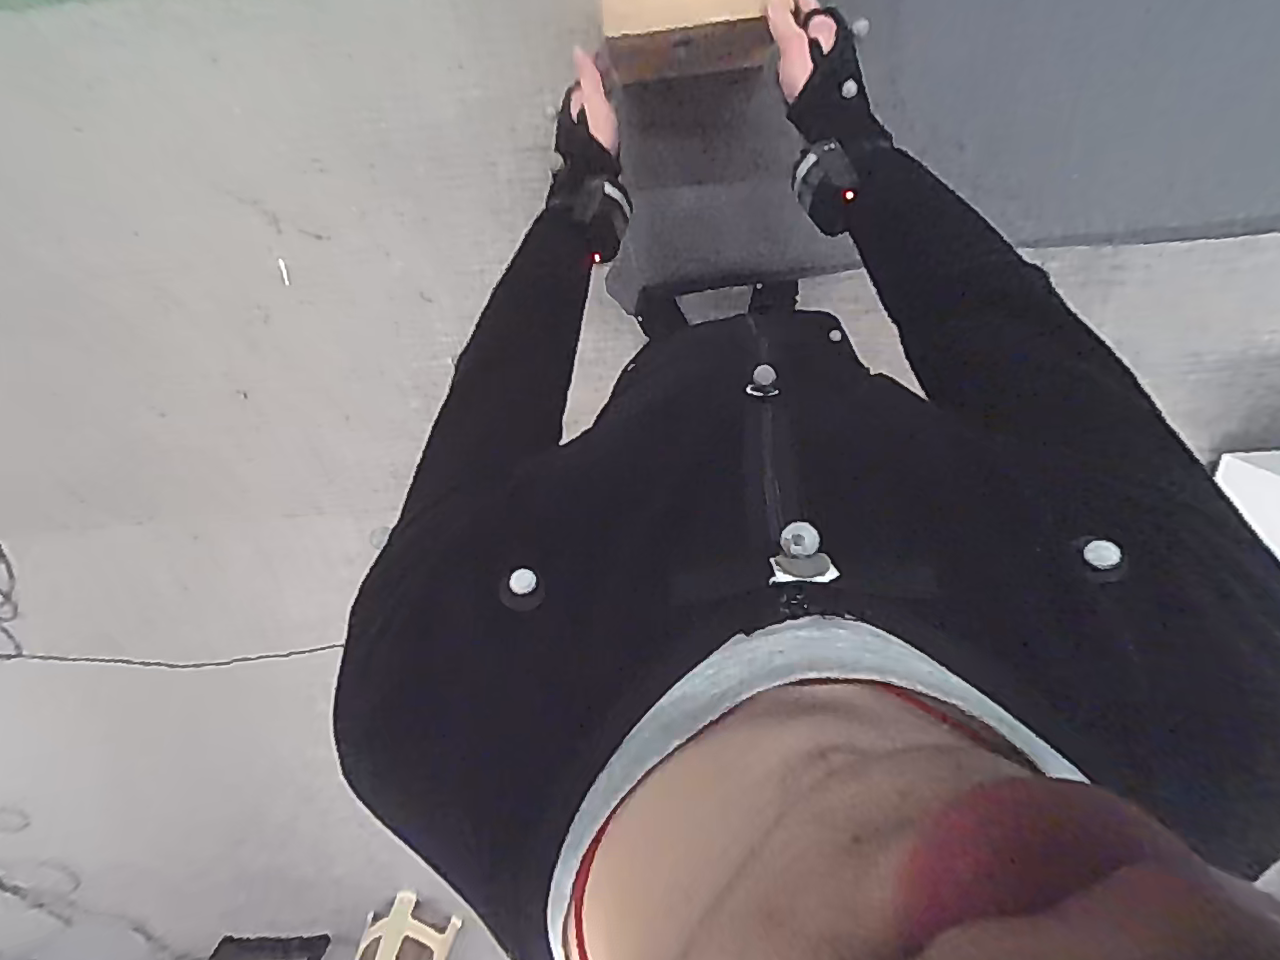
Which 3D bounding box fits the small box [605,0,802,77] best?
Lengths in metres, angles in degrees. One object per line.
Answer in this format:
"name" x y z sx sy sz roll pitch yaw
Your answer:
"small box" 0.053 -0.516 0.523 0.179 0.176 0.168 -5 114 3
